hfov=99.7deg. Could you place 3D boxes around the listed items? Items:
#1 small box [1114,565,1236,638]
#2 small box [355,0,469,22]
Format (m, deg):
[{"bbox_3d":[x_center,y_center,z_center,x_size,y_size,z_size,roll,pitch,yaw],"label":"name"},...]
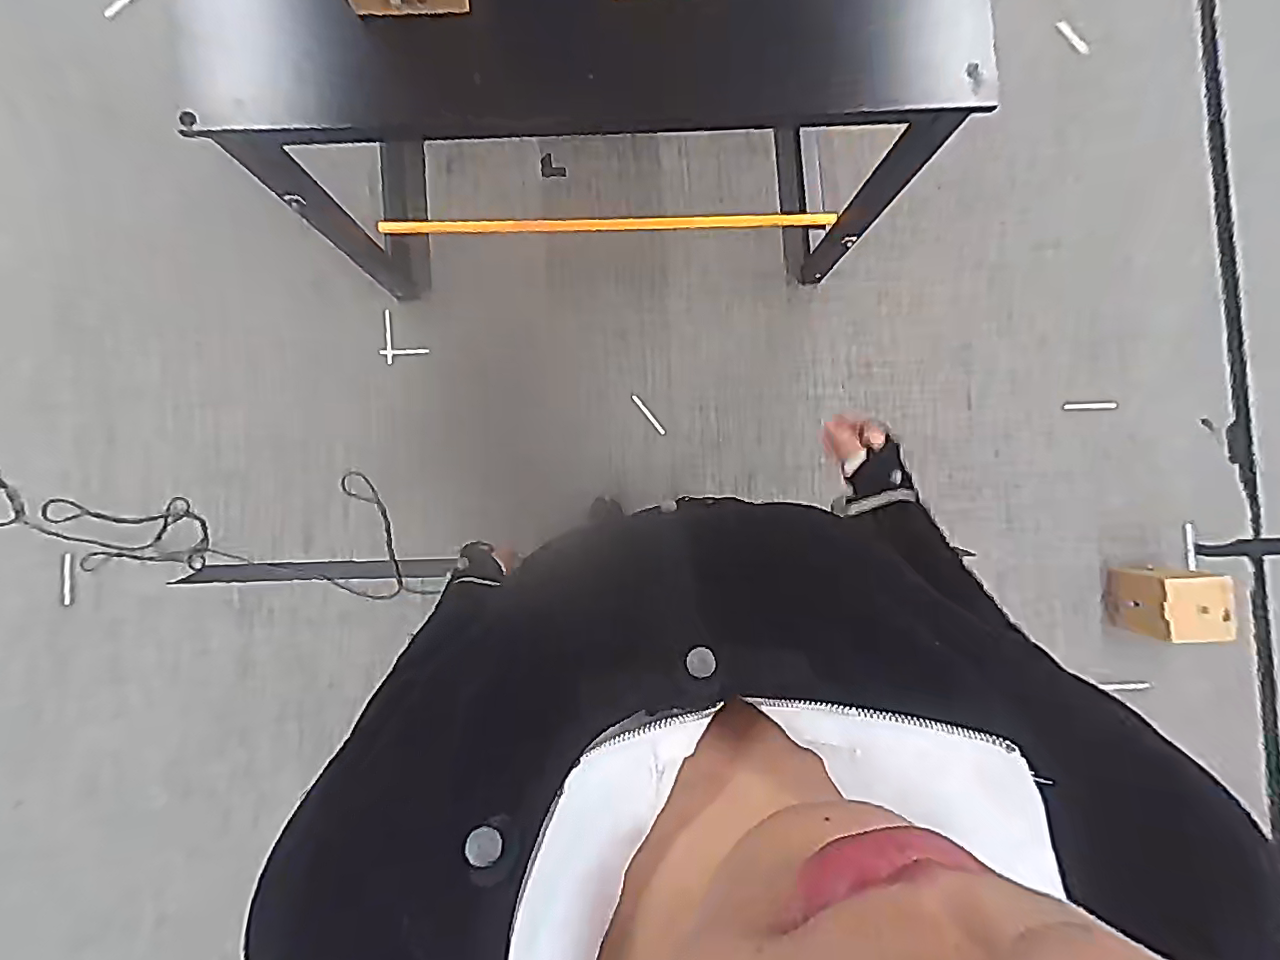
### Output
[{"bbox_3d":[1.424,0.322,1.454,0.179,0.176,0.168,-3,88,0],"label":"small box"},{"bbox_3d":[-0.338,-0.770,0.721,0.168,0.176,0.179,-5,89,0],"label":"small box"}]
